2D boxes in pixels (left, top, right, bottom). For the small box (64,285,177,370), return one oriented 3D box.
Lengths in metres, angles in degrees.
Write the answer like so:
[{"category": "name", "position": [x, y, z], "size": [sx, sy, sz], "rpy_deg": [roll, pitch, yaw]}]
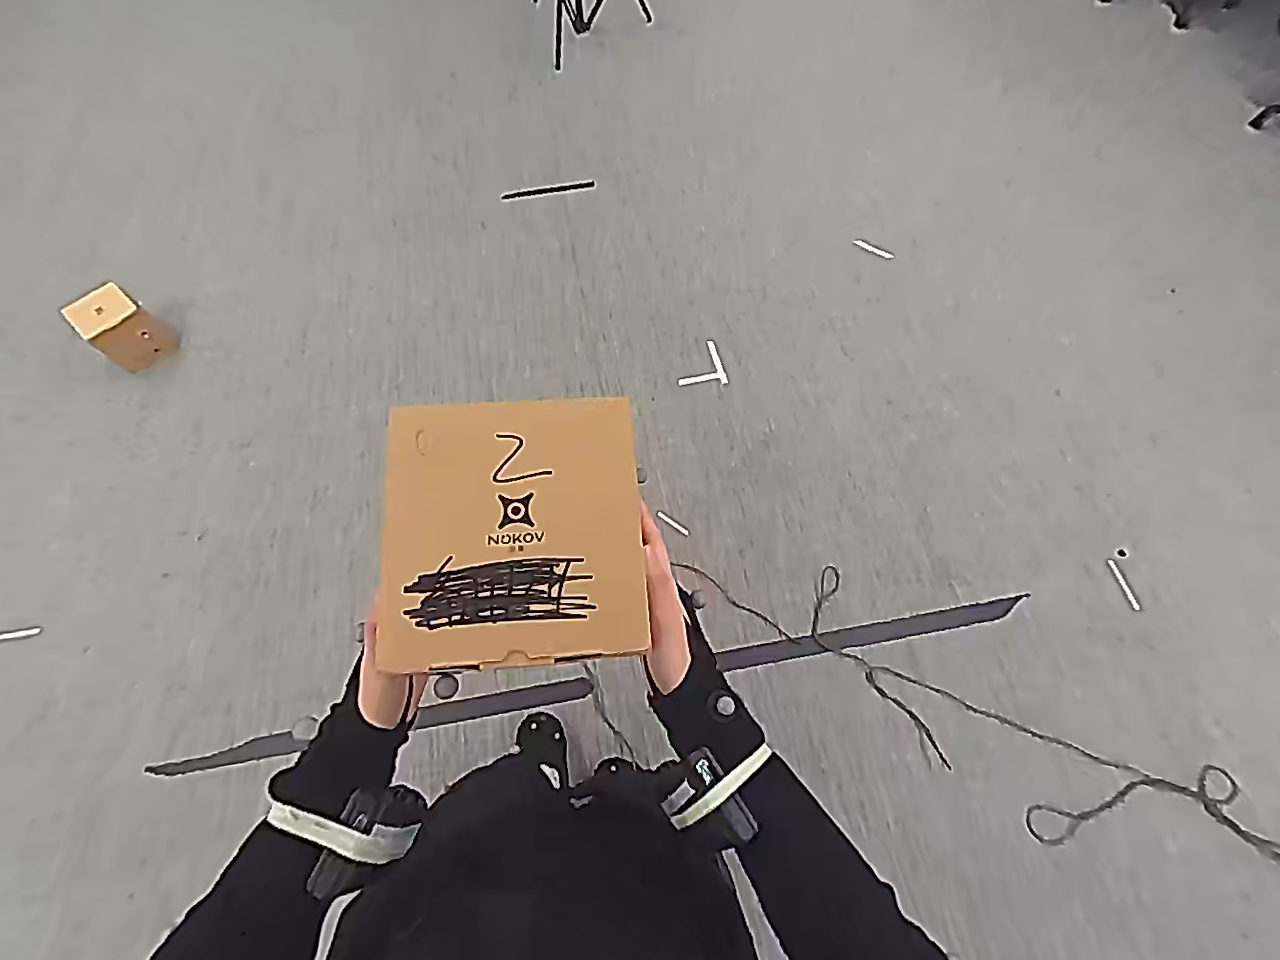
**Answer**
[{"category": "small box", "position": [-1.645, -0.477, 1.724], "size": [0.179, 0.176, 0.168], "rpy_deg": [38, 69, 17]}]
